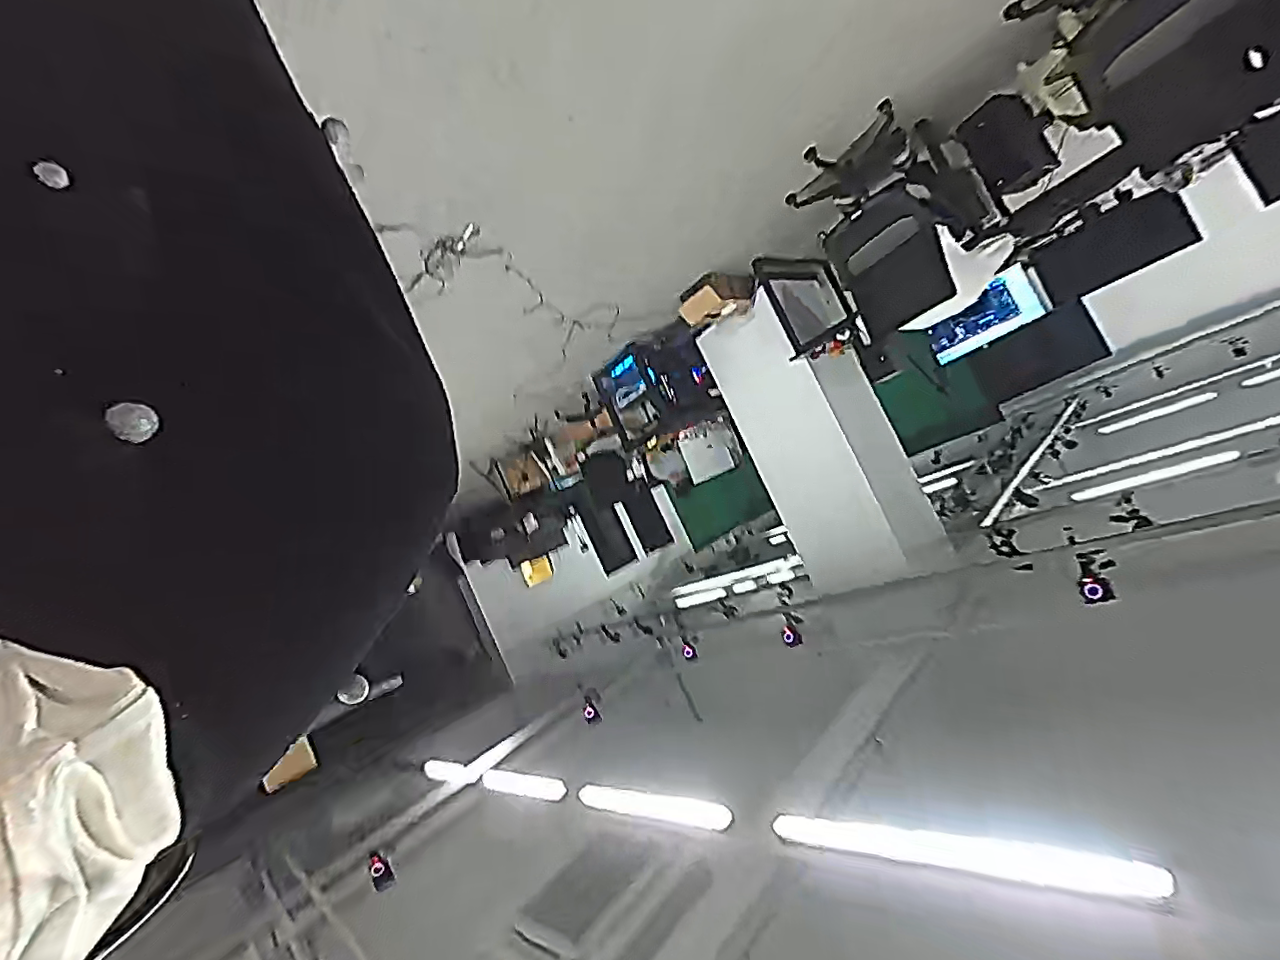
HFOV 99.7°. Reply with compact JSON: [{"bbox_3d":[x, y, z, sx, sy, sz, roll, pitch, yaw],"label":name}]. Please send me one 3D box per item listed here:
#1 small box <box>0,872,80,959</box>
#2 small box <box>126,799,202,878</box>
[{"bbox_3d":[-1.737,1.262,1.534,0.179,0.176,0.168,-25,178,43],"label":"small box"},{"bbox_3d":[-1.708,1.276,1.943,0.168,0.176,0.179,-22,175,-43],"label":"small box"}]
